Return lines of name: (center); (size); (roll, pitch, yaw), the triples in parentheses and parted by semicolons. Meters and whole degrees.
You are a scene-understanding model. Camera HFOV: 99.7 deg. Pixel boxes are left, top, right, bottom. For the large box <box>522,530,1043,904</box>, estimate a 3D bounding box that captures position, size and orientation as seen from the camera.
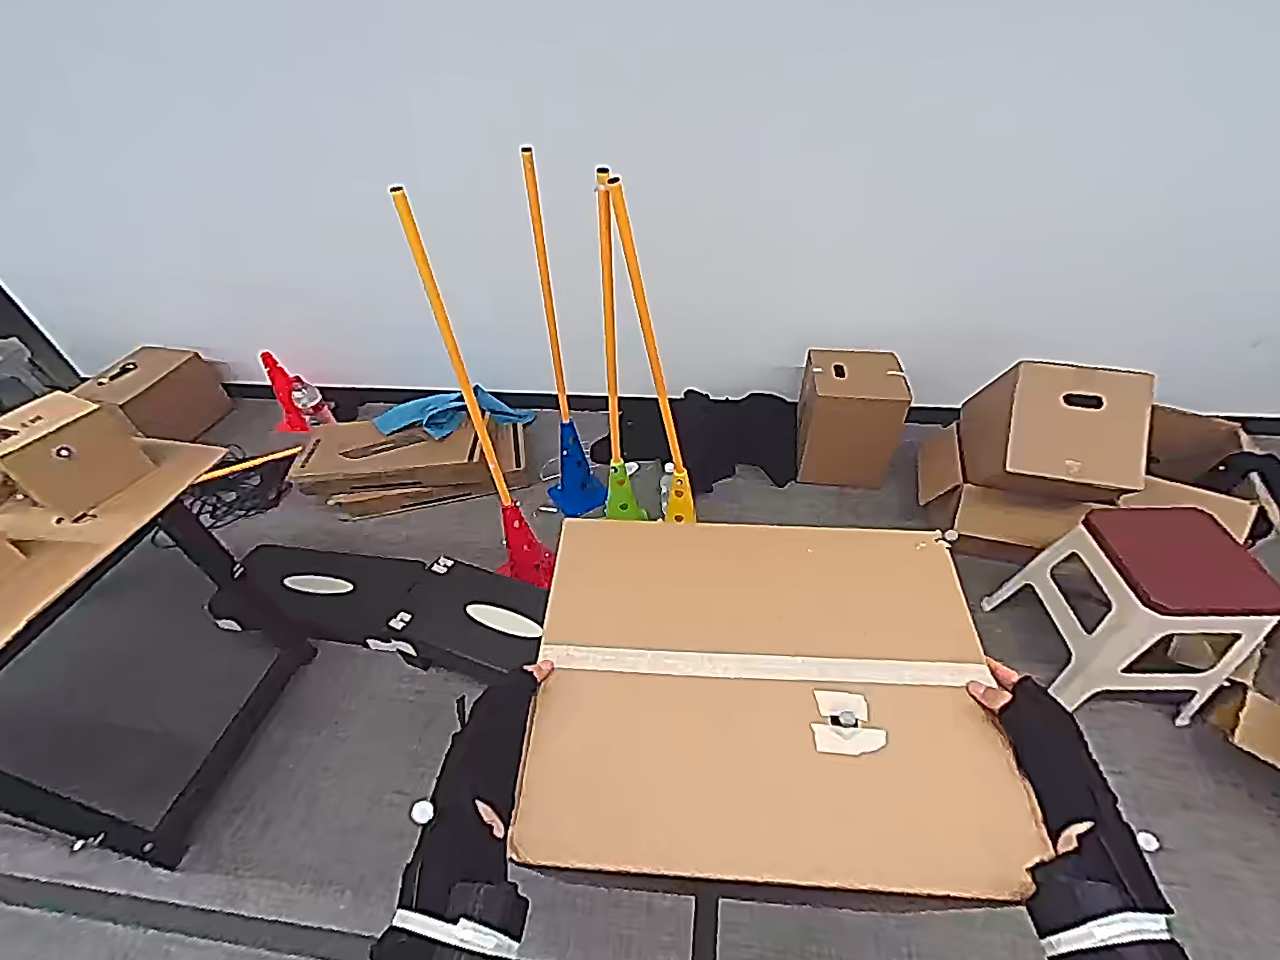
large box: (0.114, 0.274, 0.617); (0.408, 0.320, 0.320); (2, 52, 4)
